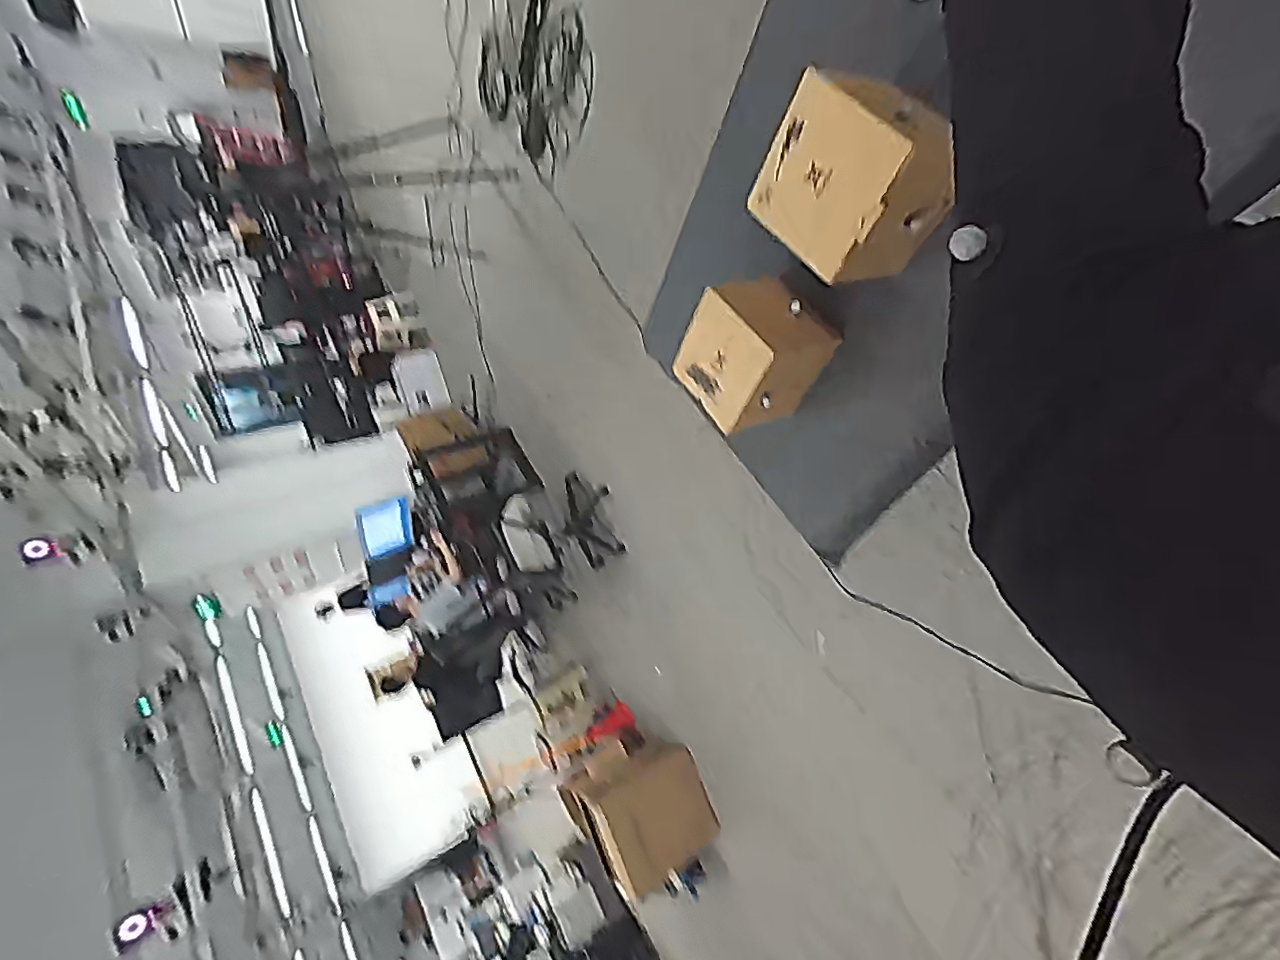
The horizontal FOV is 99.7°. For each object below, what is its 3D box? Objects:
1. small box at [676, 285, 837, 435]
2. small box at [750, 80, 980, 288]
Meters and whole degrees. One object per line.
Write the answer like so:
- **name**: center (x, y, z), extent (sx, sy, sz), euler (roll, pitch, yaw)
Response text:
- **small box**: center (0.194, -0.206, 0.914), extent (0.168, 0.176, 0.179), euler (54, 144, 24)
- **small box**: center (0.283, -0.375, 0.692), extent (0.179, 0.176, 0.168), euler (55, 145, 23)
